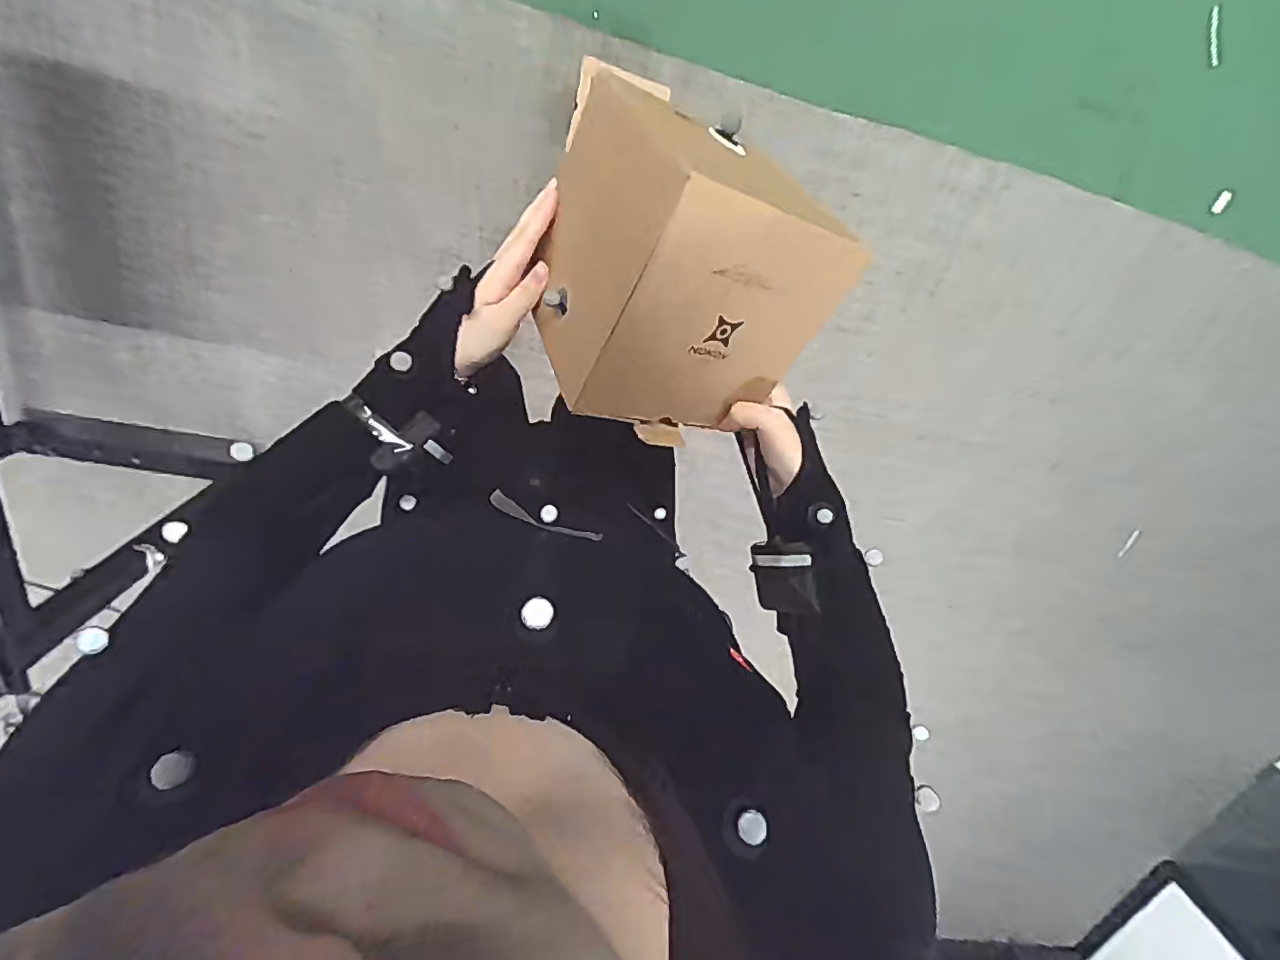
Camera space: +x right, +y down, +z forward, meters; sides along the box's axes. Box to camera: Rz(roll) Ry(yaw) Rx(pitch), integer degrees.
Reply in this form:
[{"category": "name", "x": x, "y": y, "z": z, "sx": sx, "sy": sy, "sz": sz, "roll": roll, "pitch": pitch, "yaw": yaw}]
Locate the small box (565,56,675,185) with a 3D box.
[{"category": "small box", "x": -0.047, "y": -0.716, "z": 1.102, "sx": 0.179, "sy": 0.176, "sz": 0.168, "roll": 13, "pitch": 115, "yaw": -13}]
